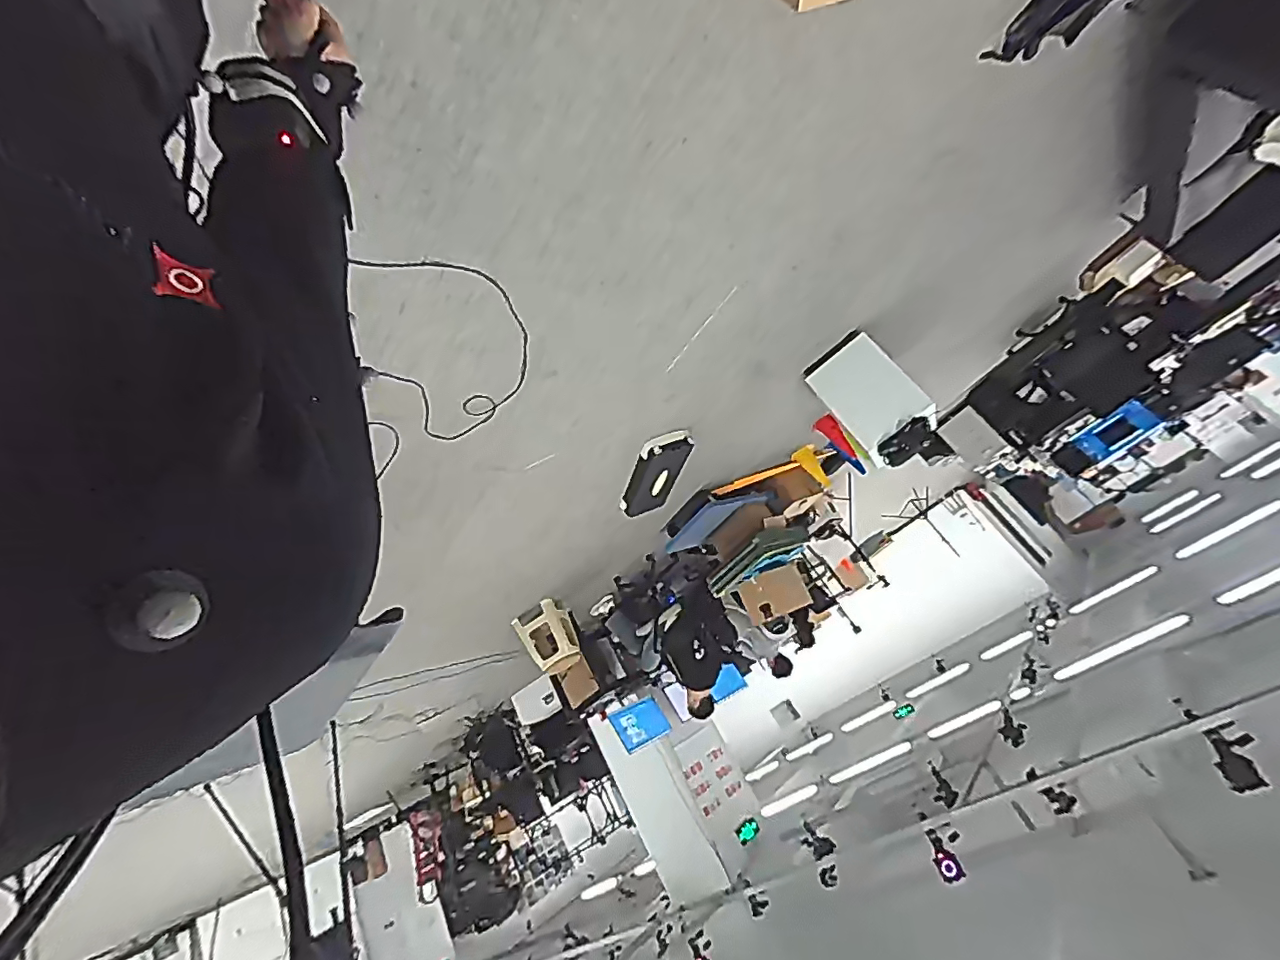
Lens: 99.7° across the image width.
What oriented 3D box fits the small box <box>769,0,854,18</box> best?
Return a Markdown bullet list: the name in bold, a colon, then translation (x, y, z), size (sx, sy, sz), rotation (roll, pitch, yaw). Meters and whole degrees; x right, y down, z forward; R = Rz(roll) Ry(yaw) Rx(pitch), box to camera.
- **small box**: translation (0.381, -1.172, 1.194), size (0.179, 0.176, 0.168), rotation (-26, 154, -13)
